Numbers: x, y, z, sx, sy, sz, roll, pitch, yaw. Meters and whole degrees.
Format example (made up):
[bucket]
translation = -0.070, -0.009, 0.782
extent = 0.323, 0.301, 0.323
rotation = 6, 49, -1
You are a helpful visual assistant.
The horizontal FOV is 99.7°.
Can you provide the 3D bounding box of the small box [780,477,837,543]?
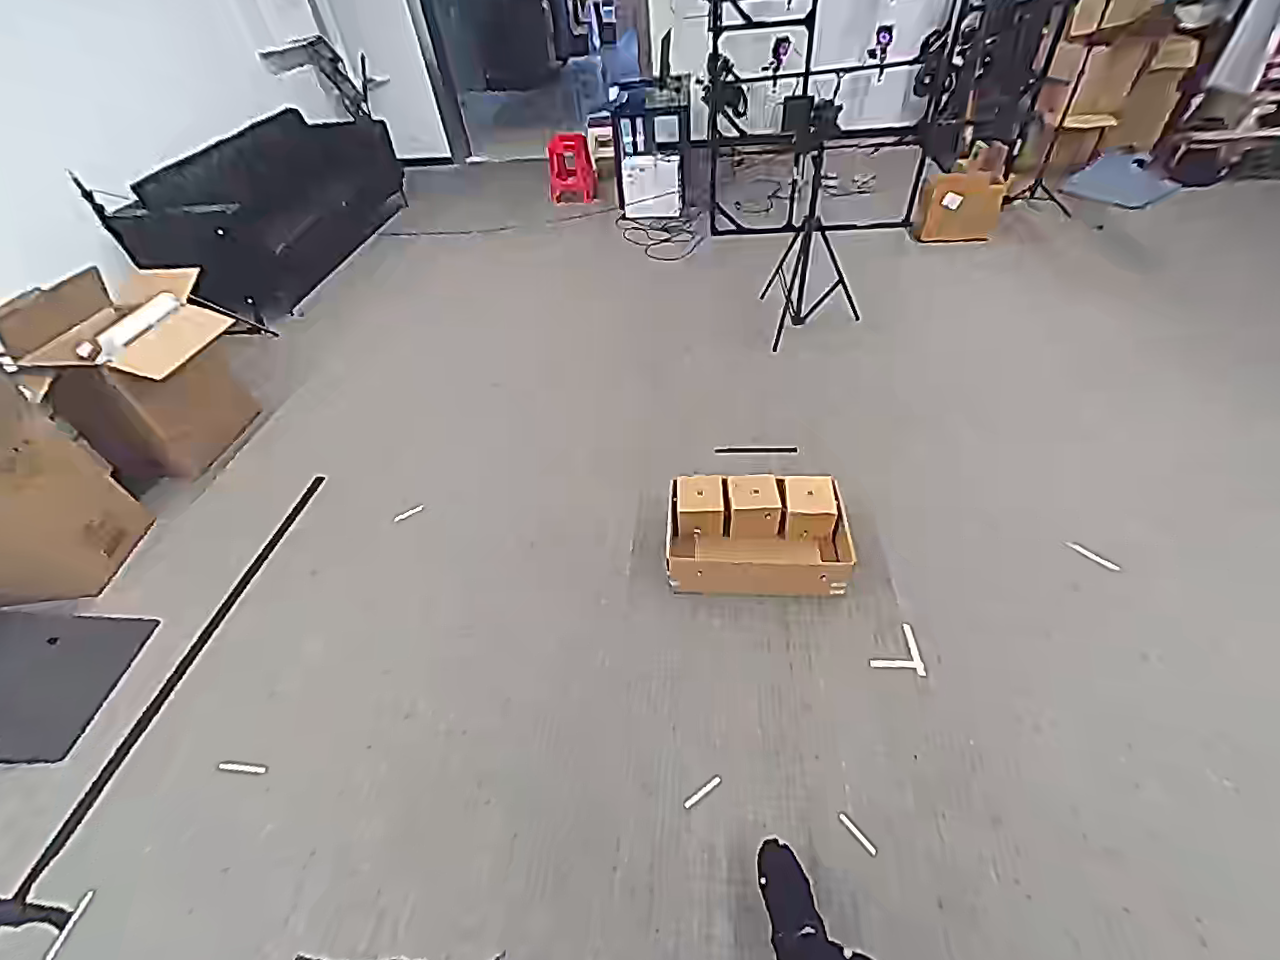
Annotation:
[small box]
translation = 0.609, 0.109, 1.972
extent = 0.168, 0.176, 0.179
rotation = 0, 48, 7
